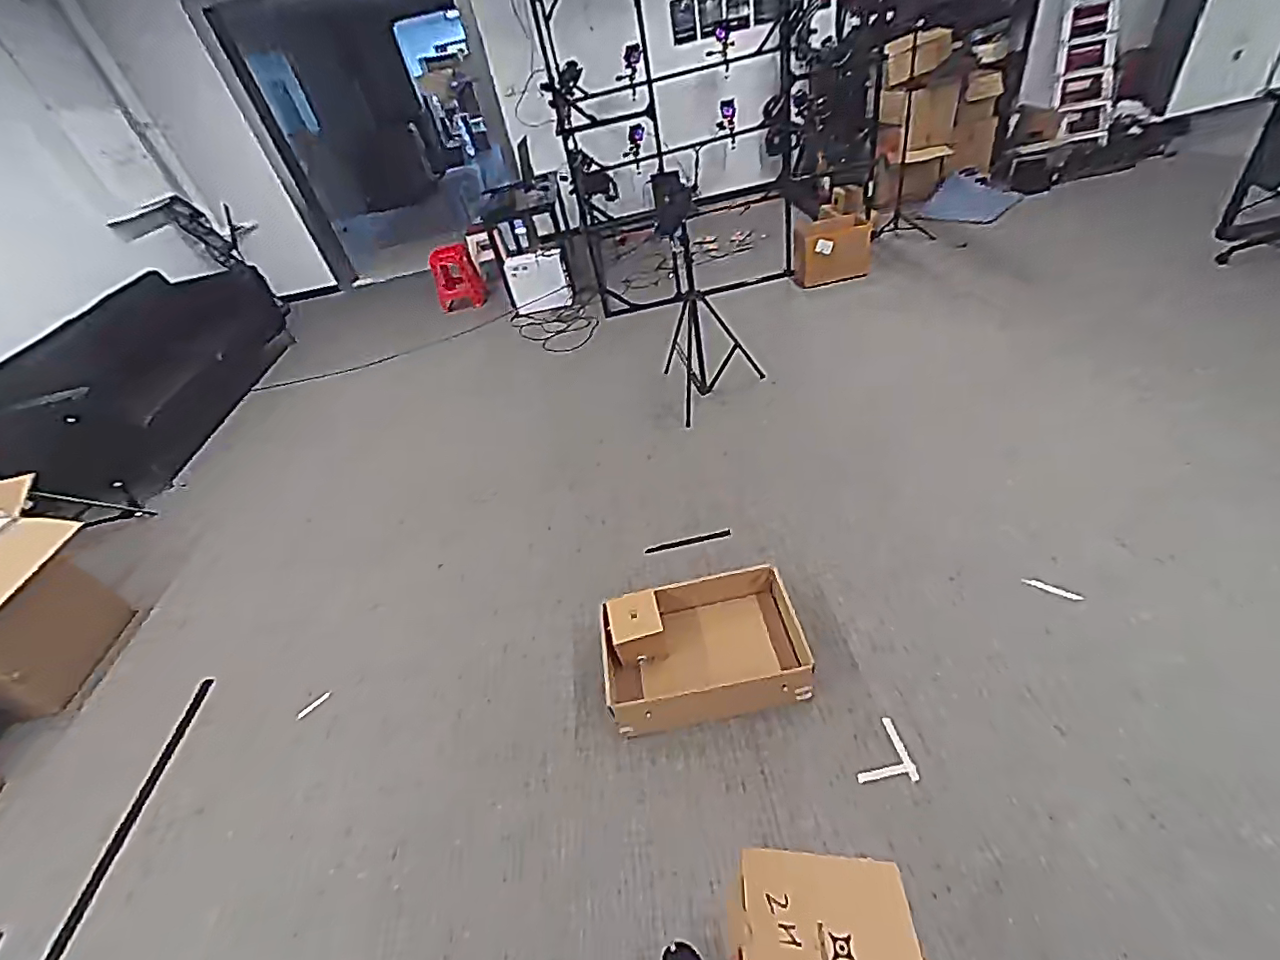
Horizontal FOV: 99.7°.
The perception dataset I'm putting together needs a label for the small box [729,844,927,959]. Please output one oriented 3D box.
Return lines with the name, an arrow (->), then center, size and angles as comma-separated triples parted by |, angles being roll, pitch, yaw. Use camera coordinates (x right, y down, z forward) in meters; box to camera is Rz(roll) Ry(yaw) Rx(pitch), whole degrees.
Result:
small box -> 0.193, 0.526, 0.577 | 0.179, 0.176, 0.168 | 3, 33, 5
